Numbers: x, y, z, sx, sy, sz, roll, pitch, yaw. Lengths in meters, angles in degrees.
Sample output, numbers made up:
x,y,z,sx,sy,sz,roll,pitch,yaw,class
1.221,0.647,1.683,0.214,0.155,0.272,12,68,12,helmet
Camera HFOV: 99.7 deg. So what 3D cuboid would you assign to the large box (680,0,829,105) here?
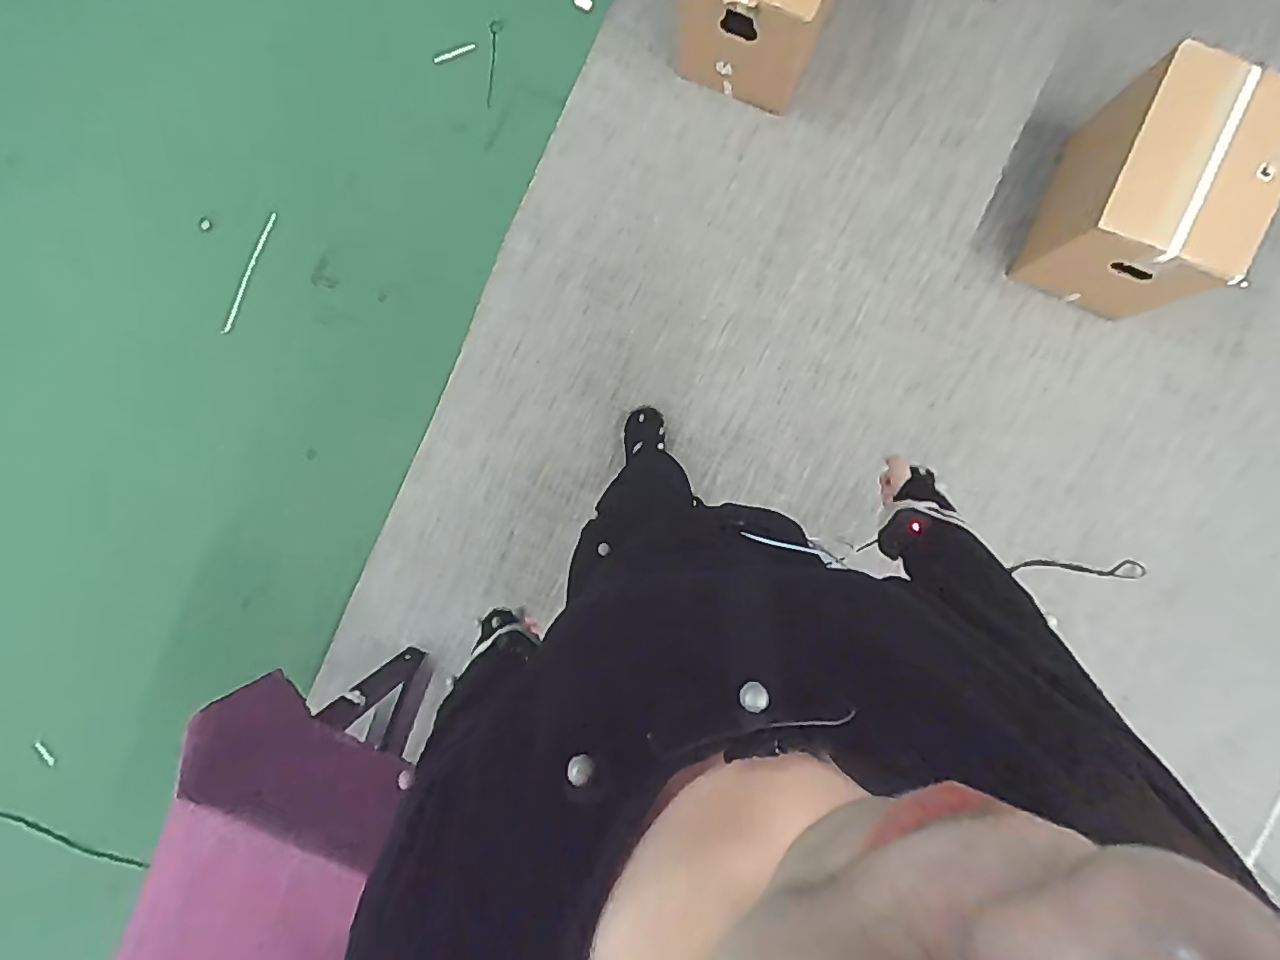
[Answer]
x,y,z,sx,sy,sz,roll,pitch,yaw,class
0.305,-1.216,1.277,0.320,0.320,0.408,23,93,2,large box
